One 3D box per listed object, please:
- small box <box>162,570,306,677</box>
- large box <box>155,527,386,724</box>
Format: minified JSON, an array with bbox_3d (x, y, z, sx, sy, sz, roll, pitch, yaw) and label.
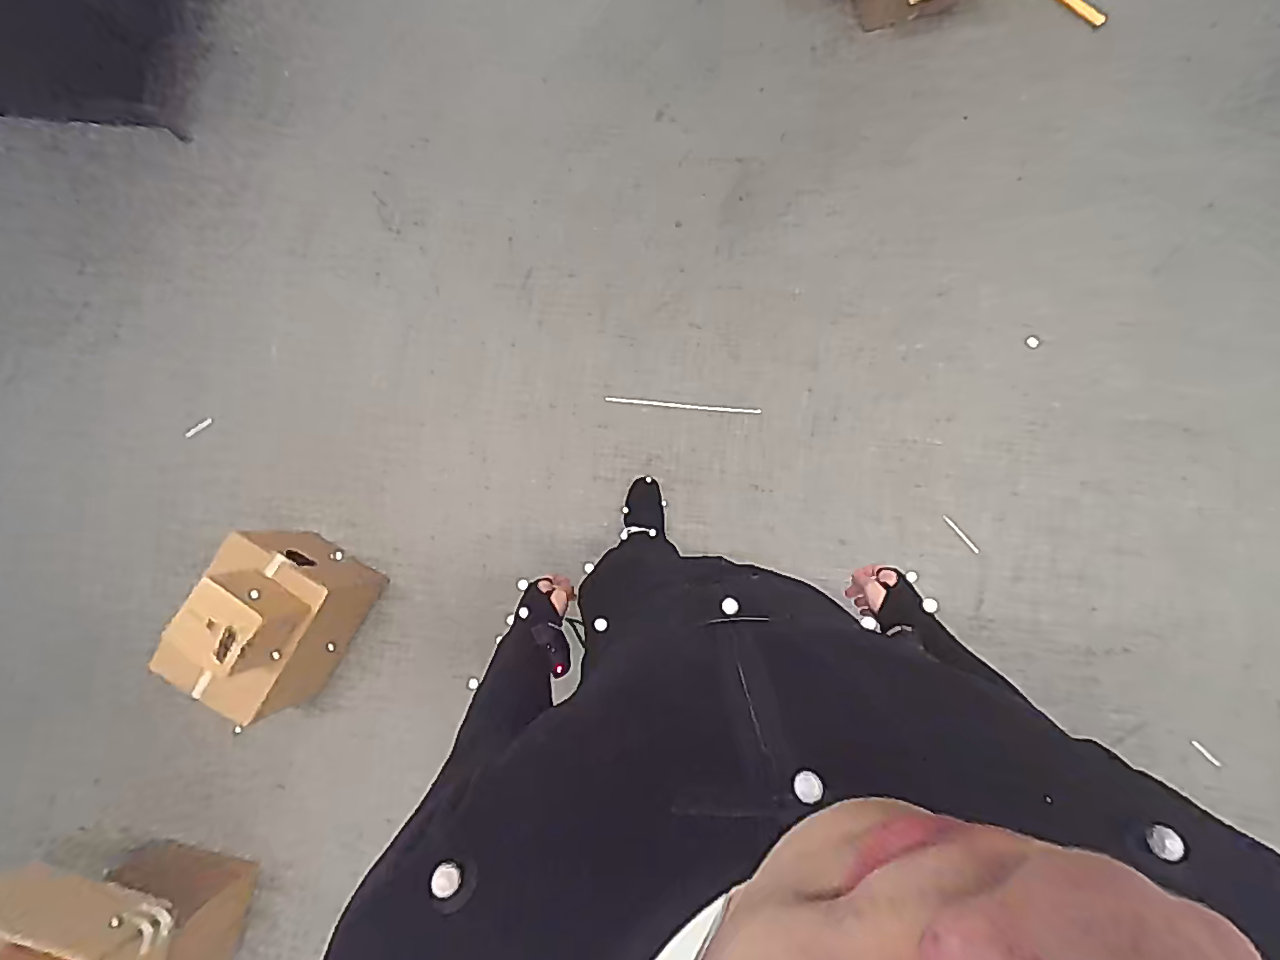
[{"bbox_3d":[-0.942,0.325,1.275,0.179,0.176,0.168,33,87,3],"label":"small box"},{"bbox_3d":[-1.005,0.379,1.520,0.320,0.320,0.408,29,88,5],"label":"large box"}]
